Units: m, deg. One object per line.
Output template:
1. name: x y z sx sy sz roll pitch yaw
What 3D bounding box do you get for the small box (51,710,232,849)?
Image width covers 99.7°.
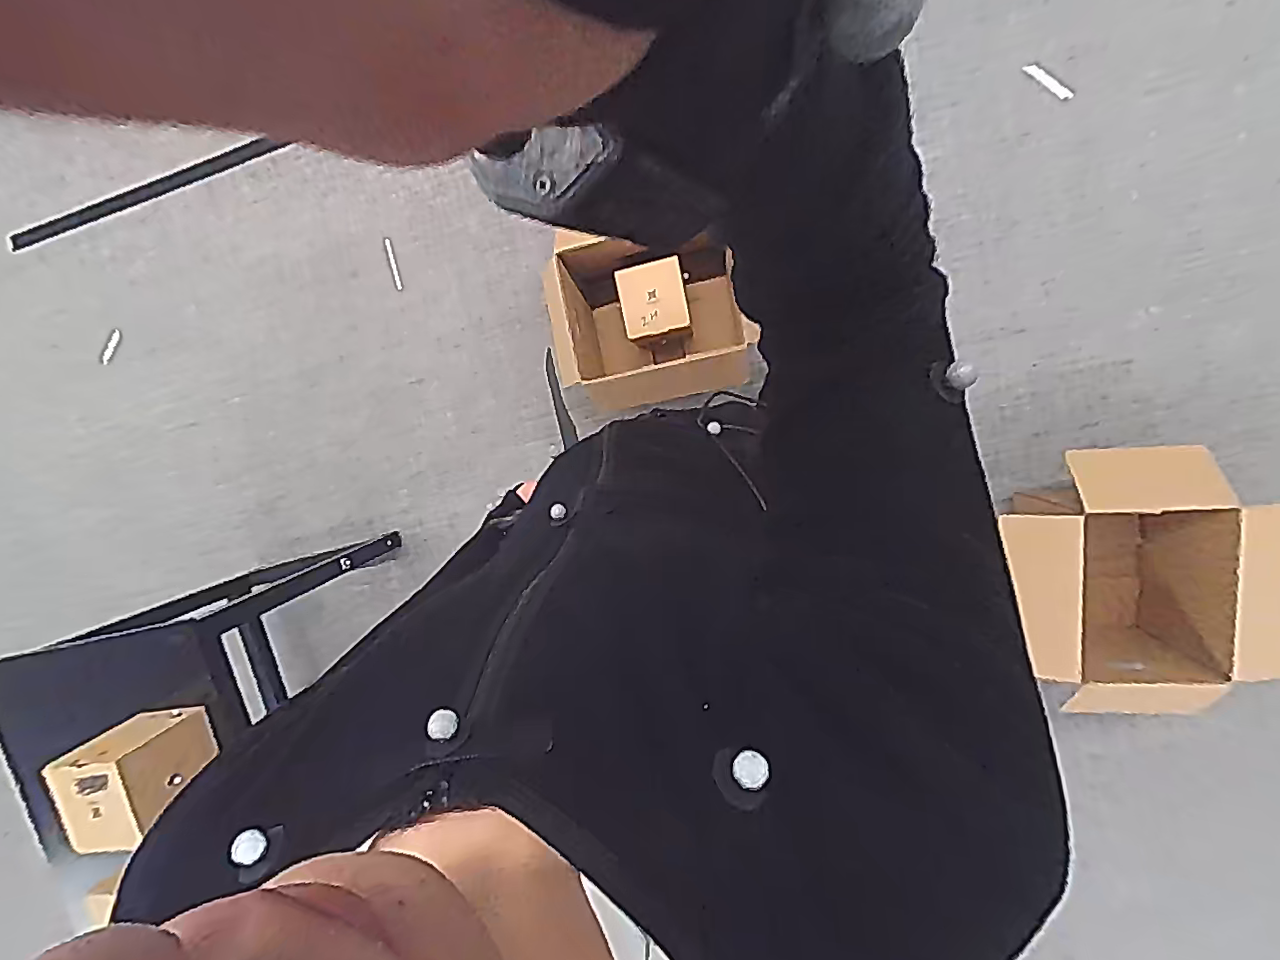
1. small box: -0.941 0.563 1.038 0.168 0.176 0.179 -10 99 11
